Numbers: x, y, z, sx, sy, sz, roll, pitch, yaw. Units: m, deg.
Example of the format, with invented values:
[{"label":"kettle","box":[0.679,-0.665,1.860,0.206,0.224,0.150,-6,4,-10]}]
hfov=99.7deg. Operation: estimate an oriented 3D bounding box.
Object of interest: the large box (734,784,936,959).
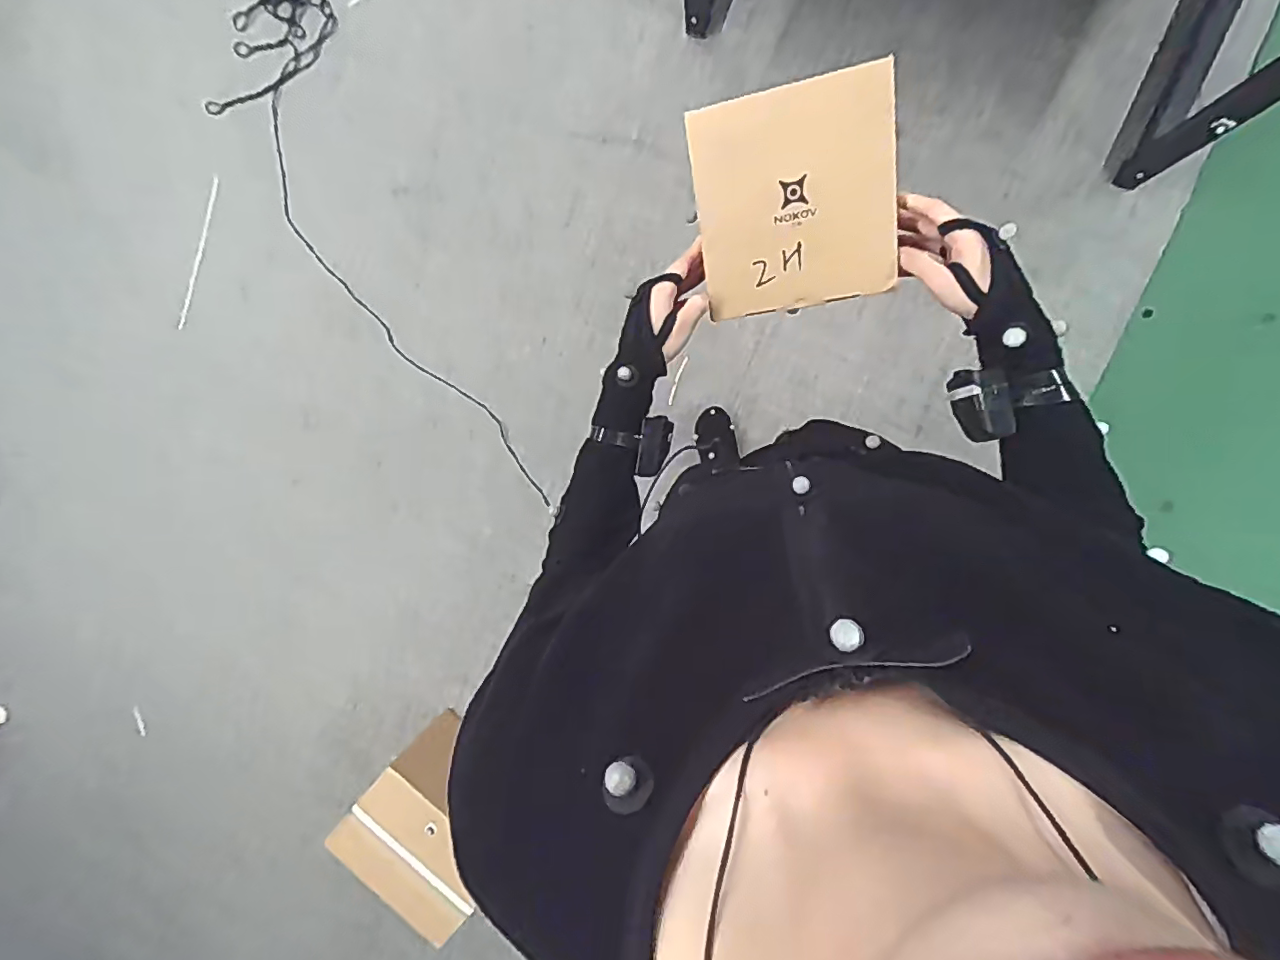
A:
[{"label":"large box","box":[0.466,1.044,1.387,0.408,0.320,0.320,8,96,6]}]

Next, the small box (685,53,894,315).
[{"label":"small box","box":[0.144,-0.270,0.534,0.168,0.176,0.179,-6,110,15]}]
